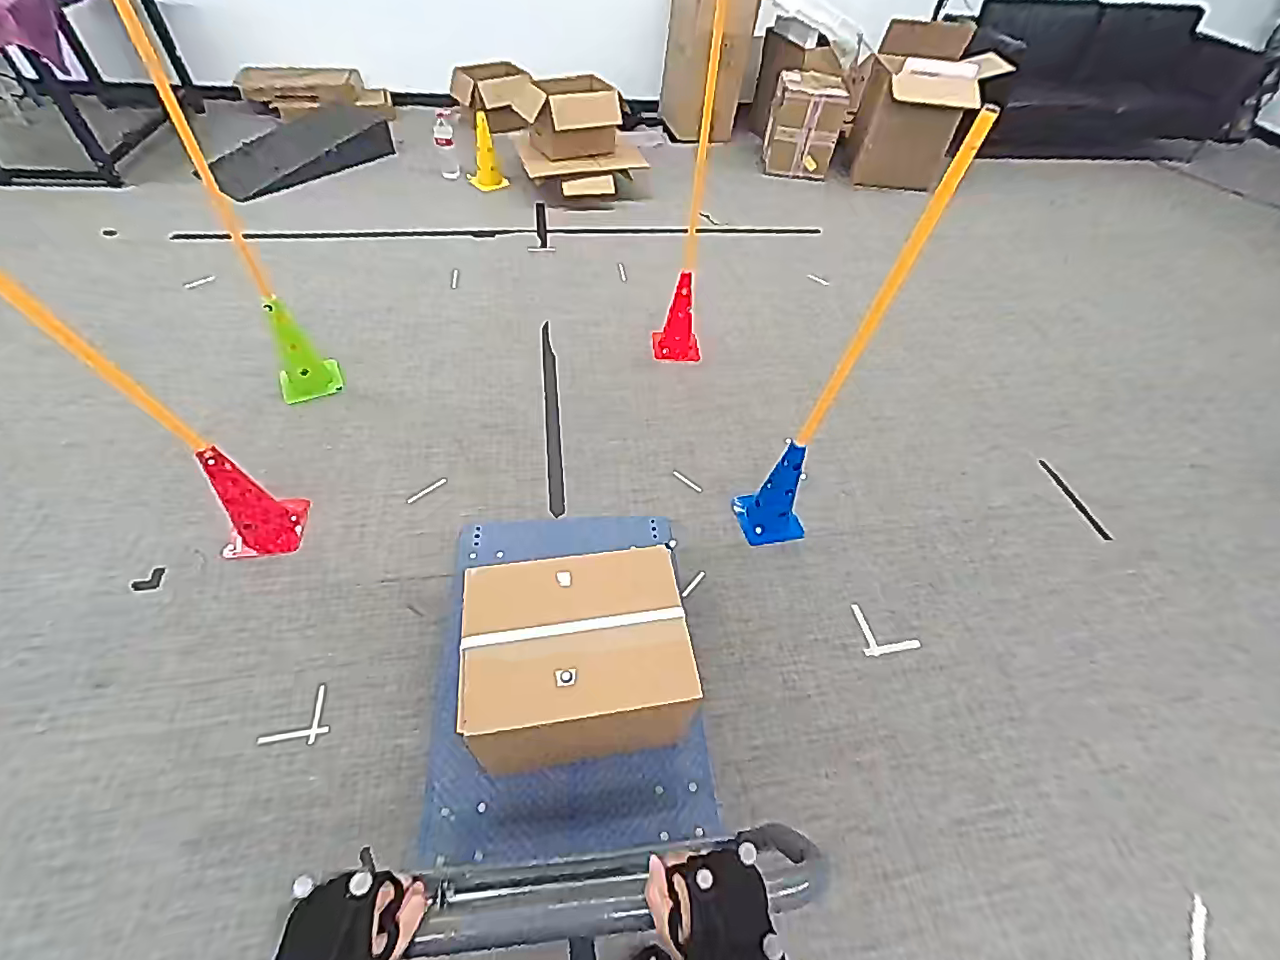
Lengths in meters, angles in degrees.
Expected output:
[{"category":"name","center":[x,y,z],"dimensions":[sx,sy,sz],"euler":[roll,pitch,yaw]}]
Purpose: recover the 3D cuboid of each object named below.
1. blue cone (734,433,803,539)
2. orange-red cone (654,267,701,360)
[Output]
[{"category":"blue cone","center":[0.436,0.006,1.664],"dimensions":[0.193,0.380,0.192],"euler":[-7,51,-12]},{"category":"orange-red cone","center":[0.173,-0.690,2.189],"dimensions":[0.199,0.360,0.198],"euler":[1,51,-5]}]
